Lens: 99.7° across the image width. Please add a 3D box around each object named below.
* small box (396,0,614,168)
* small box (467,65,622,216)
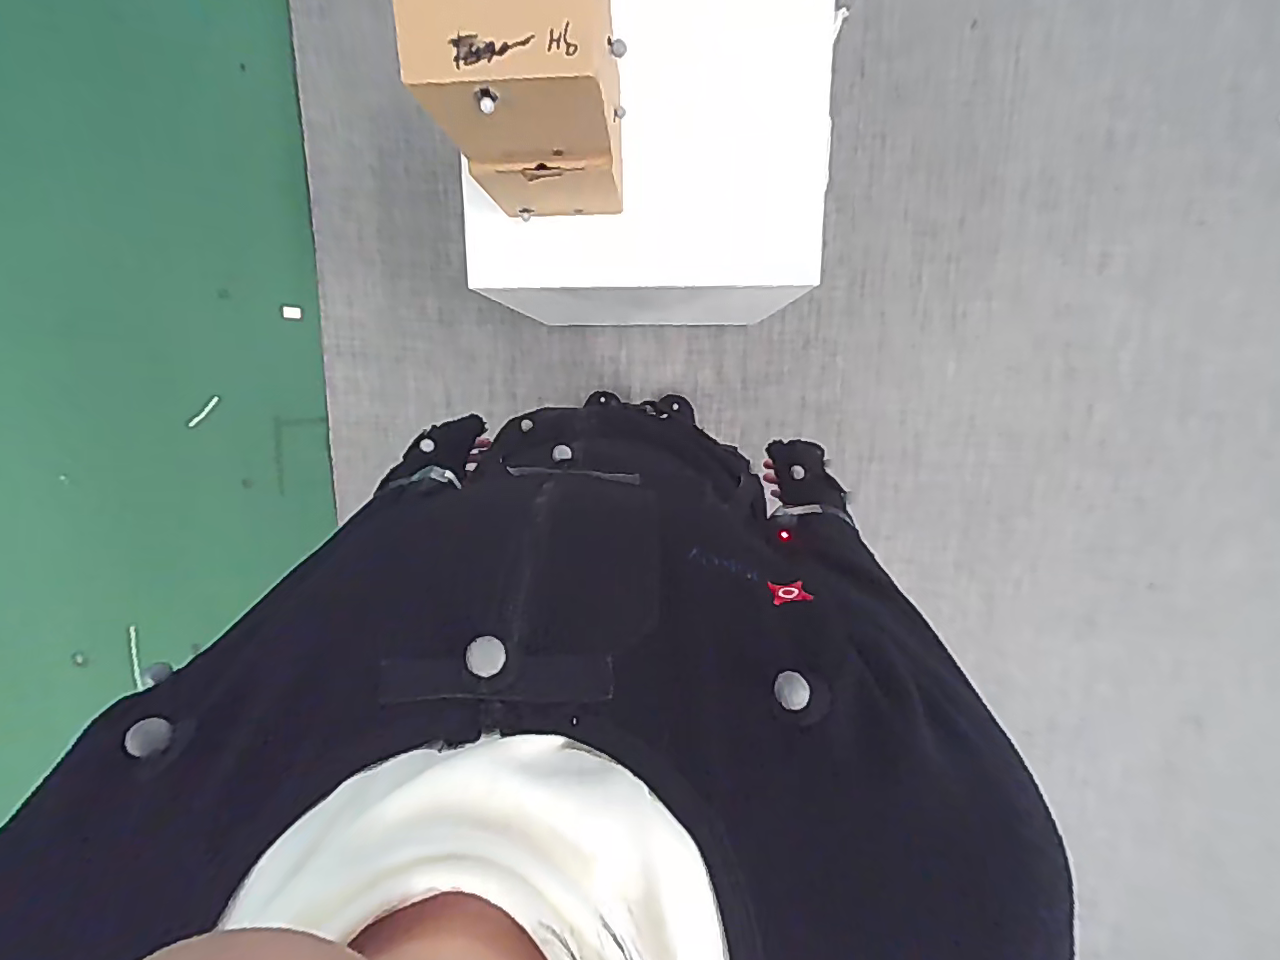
[{"bbox_3d":[-0.115,-0.427,0.515,0.168,0.176,0.179,-1,99,3],"label":"small box"},{"bbox_3d":[-0.112,-0.444,0.678,0.168,0.176,0.179,-1,99,2],"label":"small box"}]
